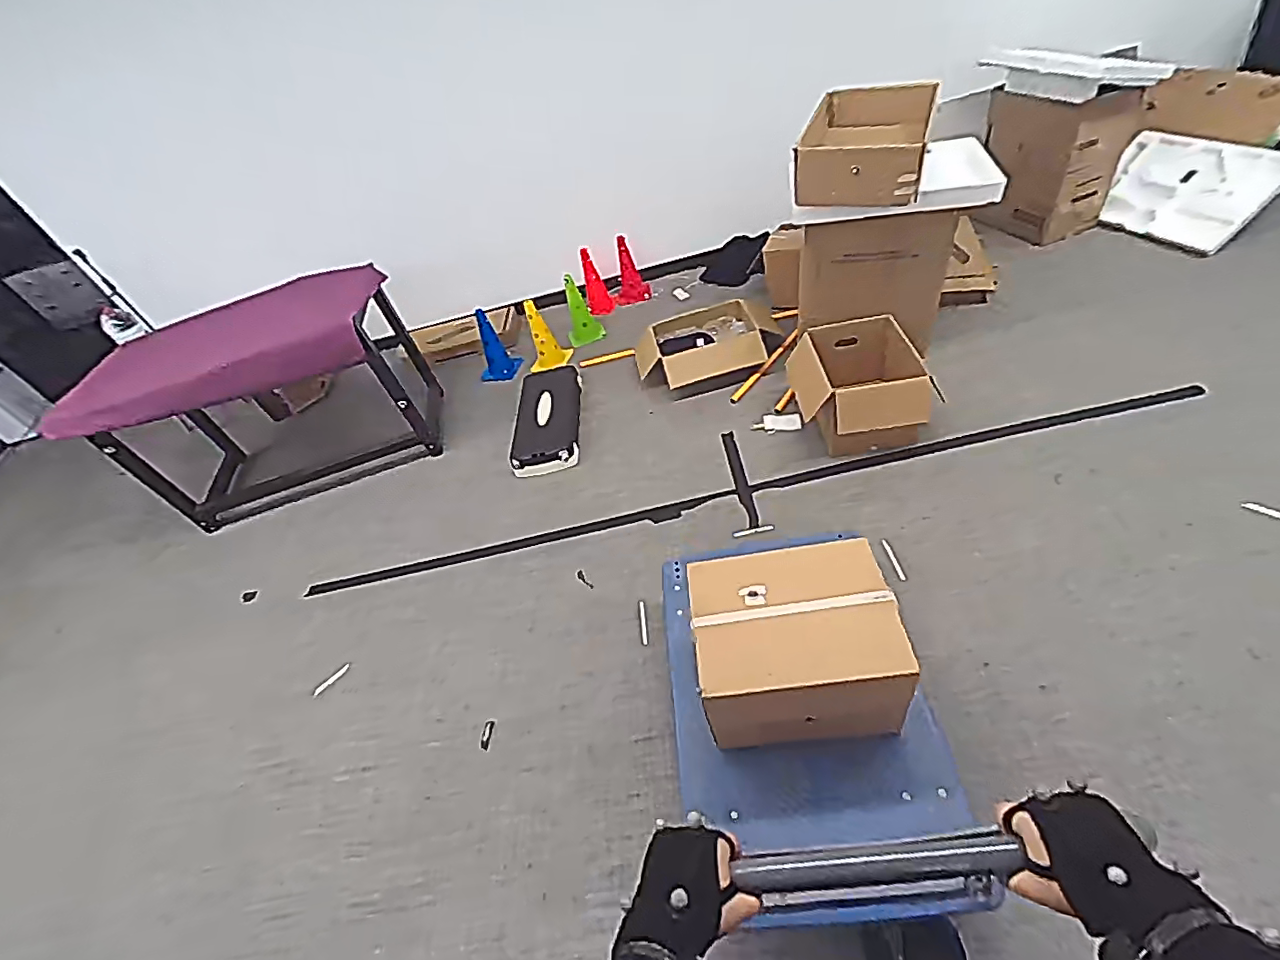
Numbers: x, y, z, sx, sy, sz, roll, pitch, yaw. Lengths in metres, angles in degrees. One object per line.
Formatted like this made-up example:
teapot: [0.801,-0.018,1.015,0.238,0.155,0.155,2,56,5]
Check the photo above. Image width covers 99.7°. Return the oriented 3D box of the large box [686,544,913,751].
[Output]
large box: [0.340,0.387,1.224,0.408,0.320,0.320,-11,44,8]
